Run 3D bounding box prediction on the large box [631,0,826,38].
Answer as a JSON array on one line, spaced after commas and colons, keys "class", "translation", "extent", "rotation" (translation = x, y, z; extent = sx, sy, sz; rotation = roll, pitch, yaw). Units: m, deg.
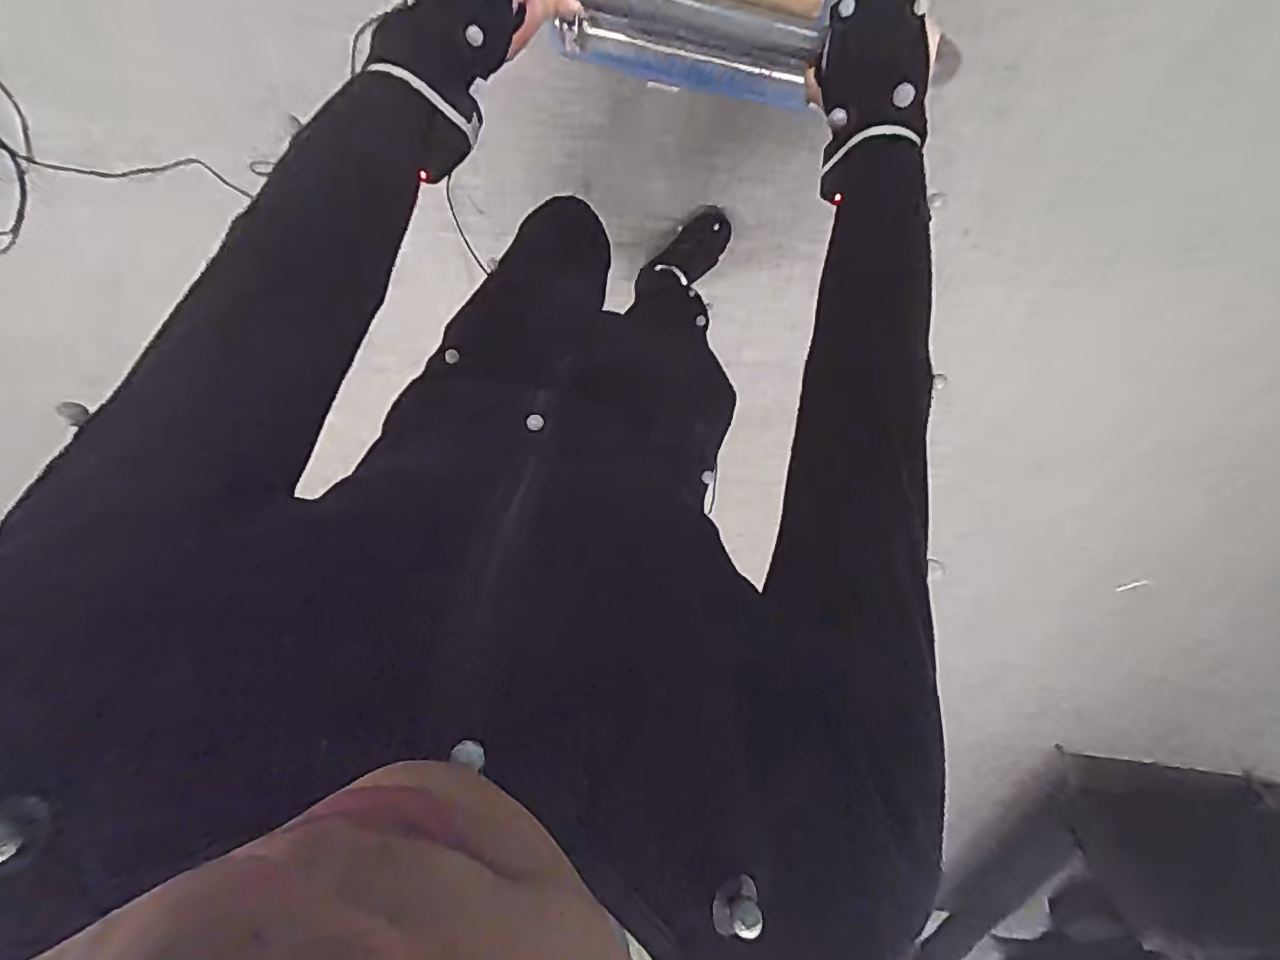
[{"class": "large box", "translation": [0.151, -0.915, 0.756], "extent": [0.320, 0.320, 0.408], "rotation": [12, 124, -2]}]
